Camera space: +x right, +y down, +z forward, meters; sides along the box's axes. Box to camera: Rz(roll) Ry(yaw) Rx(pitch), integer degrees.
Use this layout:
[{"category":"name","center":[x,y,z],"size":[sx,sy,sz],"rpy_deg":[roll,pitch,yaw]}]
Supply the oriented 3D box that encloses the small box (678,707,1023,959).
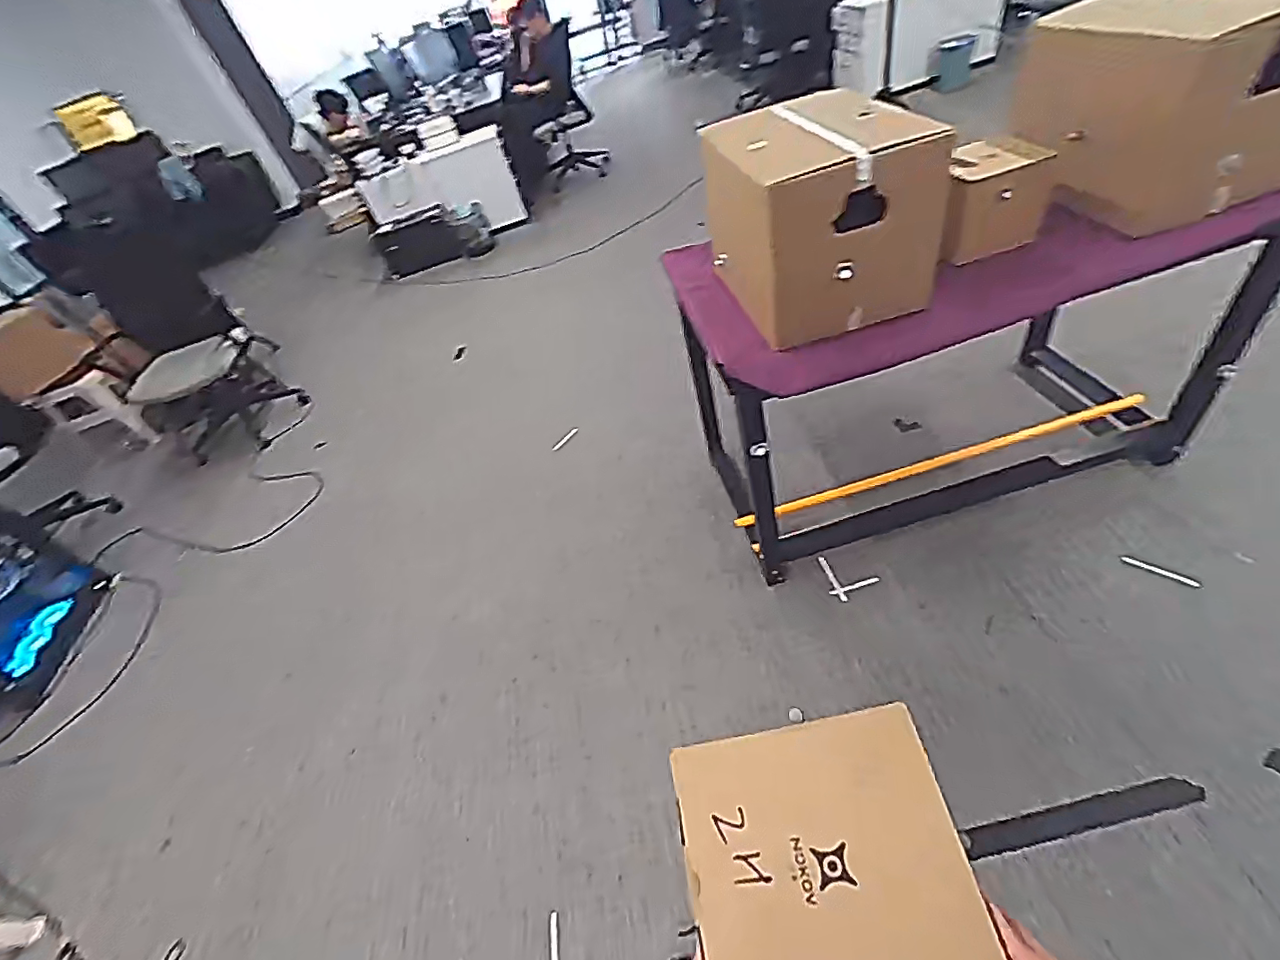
[{"category":"small box","center":[0.144,0.279,0.401],"size":[0.179,0.176,0.168],"rpy_deg":[-17,56,12]}]

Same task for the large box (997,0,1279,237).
[{"category":"large box","center":[1.000,-0.730,1.055],"size":[0.320,0.320,0.408],"rpy_deg":[-18,43,2]}]
